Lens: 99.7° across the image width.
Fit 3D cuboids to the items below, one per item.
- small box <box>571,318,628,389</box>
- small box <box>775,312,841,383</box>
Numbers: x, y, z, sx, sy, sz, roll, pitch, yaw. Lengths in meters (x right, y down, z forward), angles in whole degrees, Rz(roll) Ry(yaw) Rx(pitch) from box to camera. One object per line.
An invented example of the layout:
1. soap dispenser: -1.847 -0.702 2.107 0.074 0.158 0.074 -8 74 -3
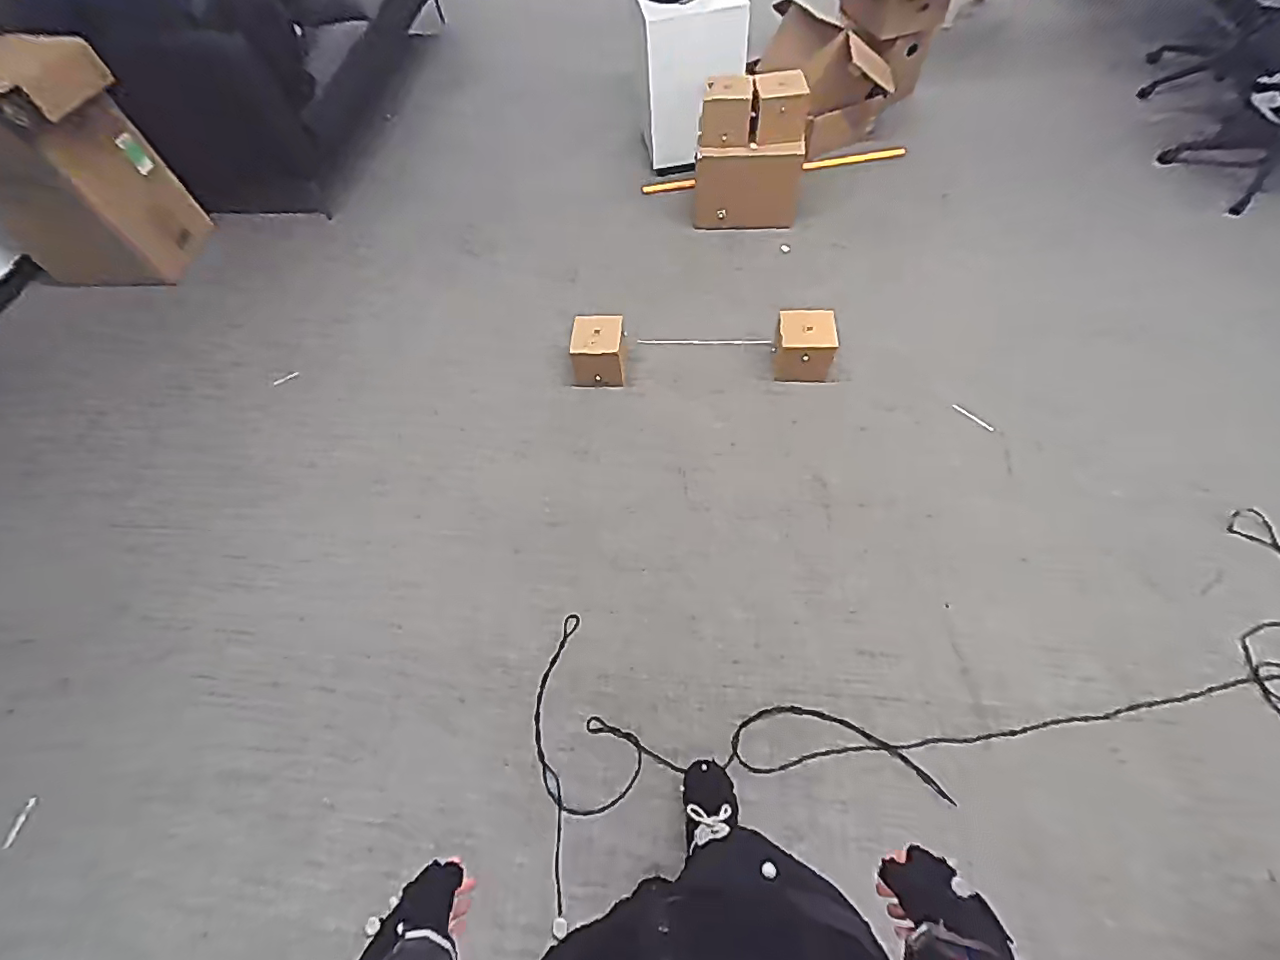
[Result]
1. small box: -0.132 -0.434 1.853 0.168 0.176 0.179 1 60 6
2. small box: 0.550 -0.436 1.791 0.179 0.176 0.168 1 60 6
